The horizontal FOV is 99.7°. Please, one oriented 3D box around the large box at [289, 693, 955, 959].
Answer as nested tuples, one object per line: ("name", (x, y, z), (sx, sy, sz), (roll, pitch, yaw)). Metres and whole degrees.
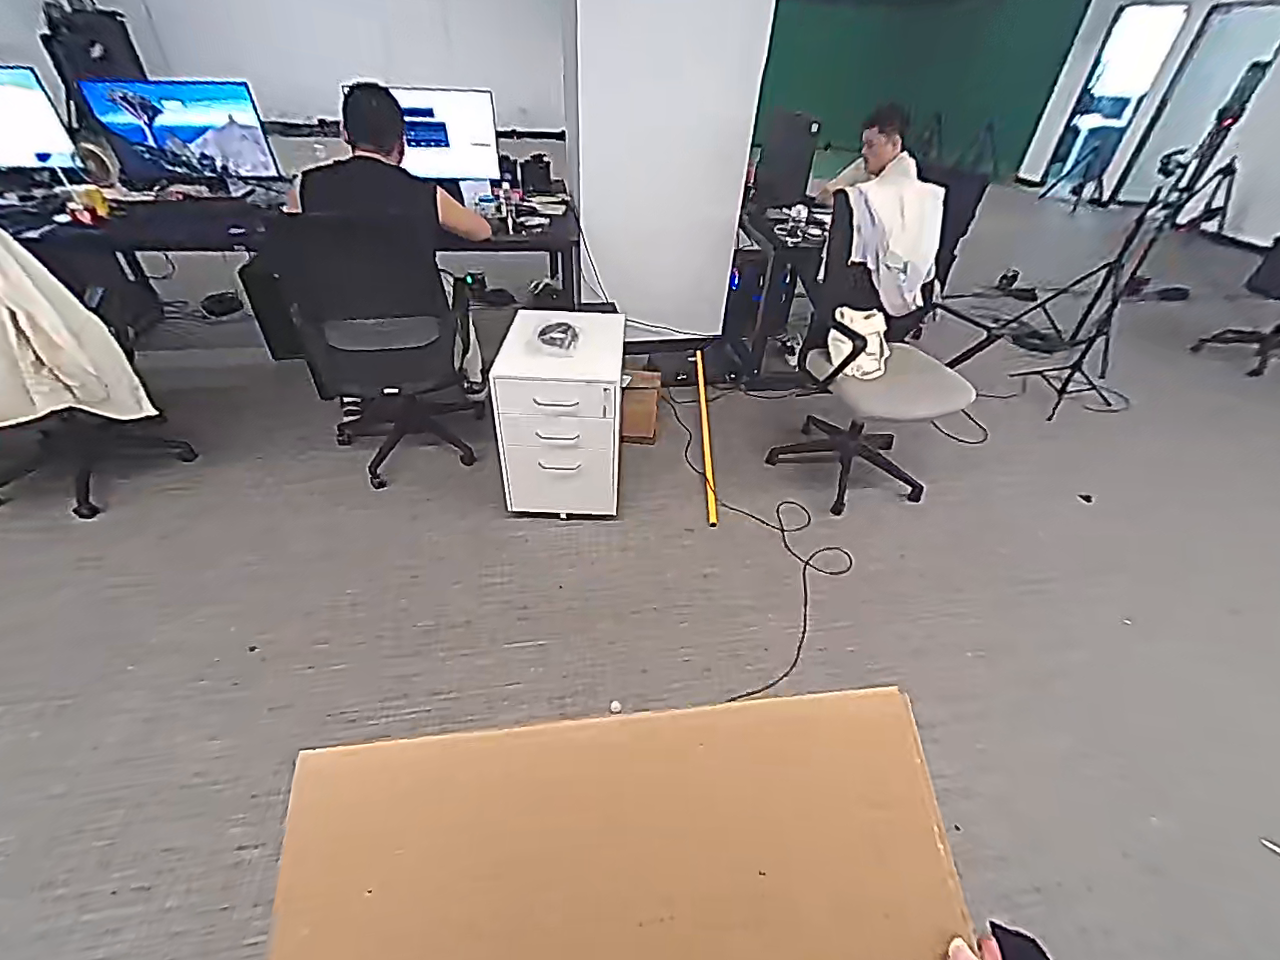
("large box", (-0.005, 0.370, 0.448), (0.408, 0.320, 0.320), (-6, 66, -1))
